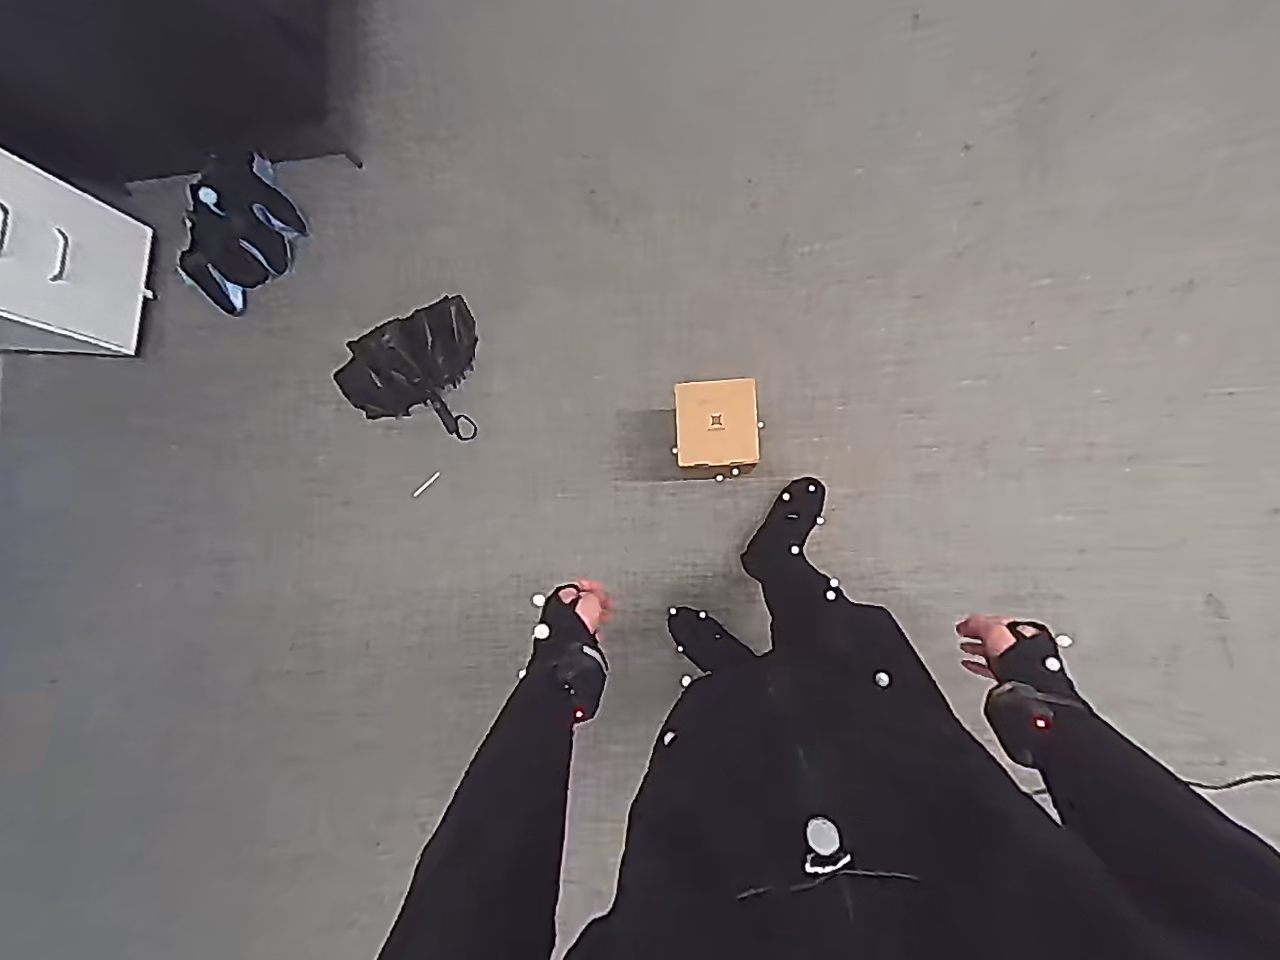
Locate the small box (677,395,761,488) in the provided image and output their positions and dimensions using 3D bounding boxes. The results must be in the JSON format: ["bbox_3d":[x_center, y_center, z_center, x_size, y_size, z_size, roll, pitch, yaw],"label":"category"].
[{"bbox_3d":[0.173,-0.076,1.189,0.168,0.176,0.179,-4,83,7],"label":"small box"}]
